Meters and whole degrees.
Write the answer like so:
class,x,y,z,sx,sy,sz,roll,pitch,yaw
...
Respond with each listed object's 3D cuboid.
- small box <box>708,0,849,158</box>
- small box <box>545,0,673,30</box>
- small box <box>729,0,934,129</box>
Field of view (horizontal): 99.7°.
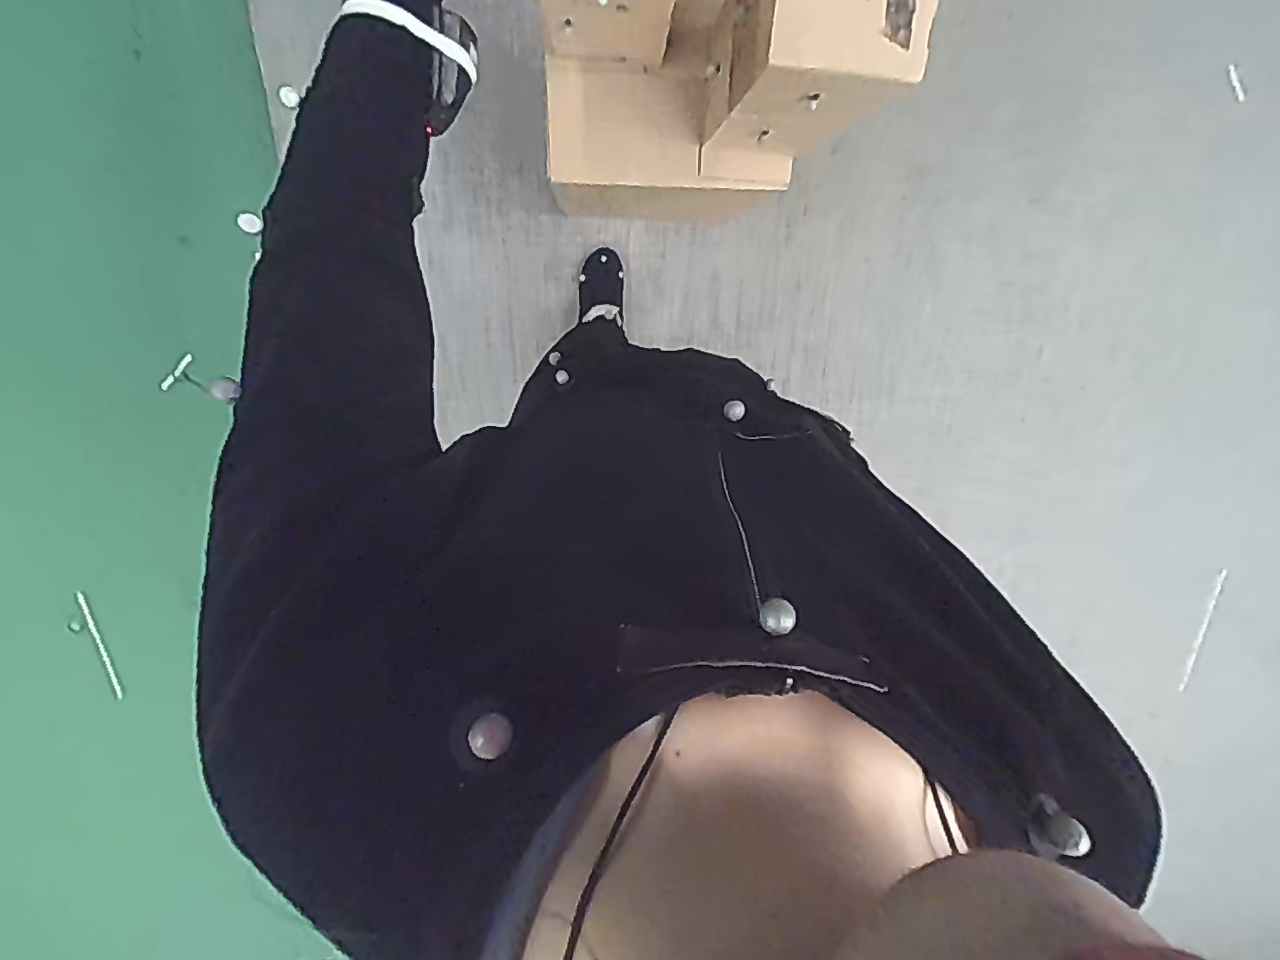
class,x,y,z,sx,sy,sz,roll,pitch,yaw
small box,0.200,-0.582,0.786,0.179,0.176,0.168,2,110,-4
small box,-0.032,-0.638,0.582,0.168,0.176,0.179,5,108,-4
small box,0.216,-0.531,0.631,0.179,0.176,0.168,3,109,-5
